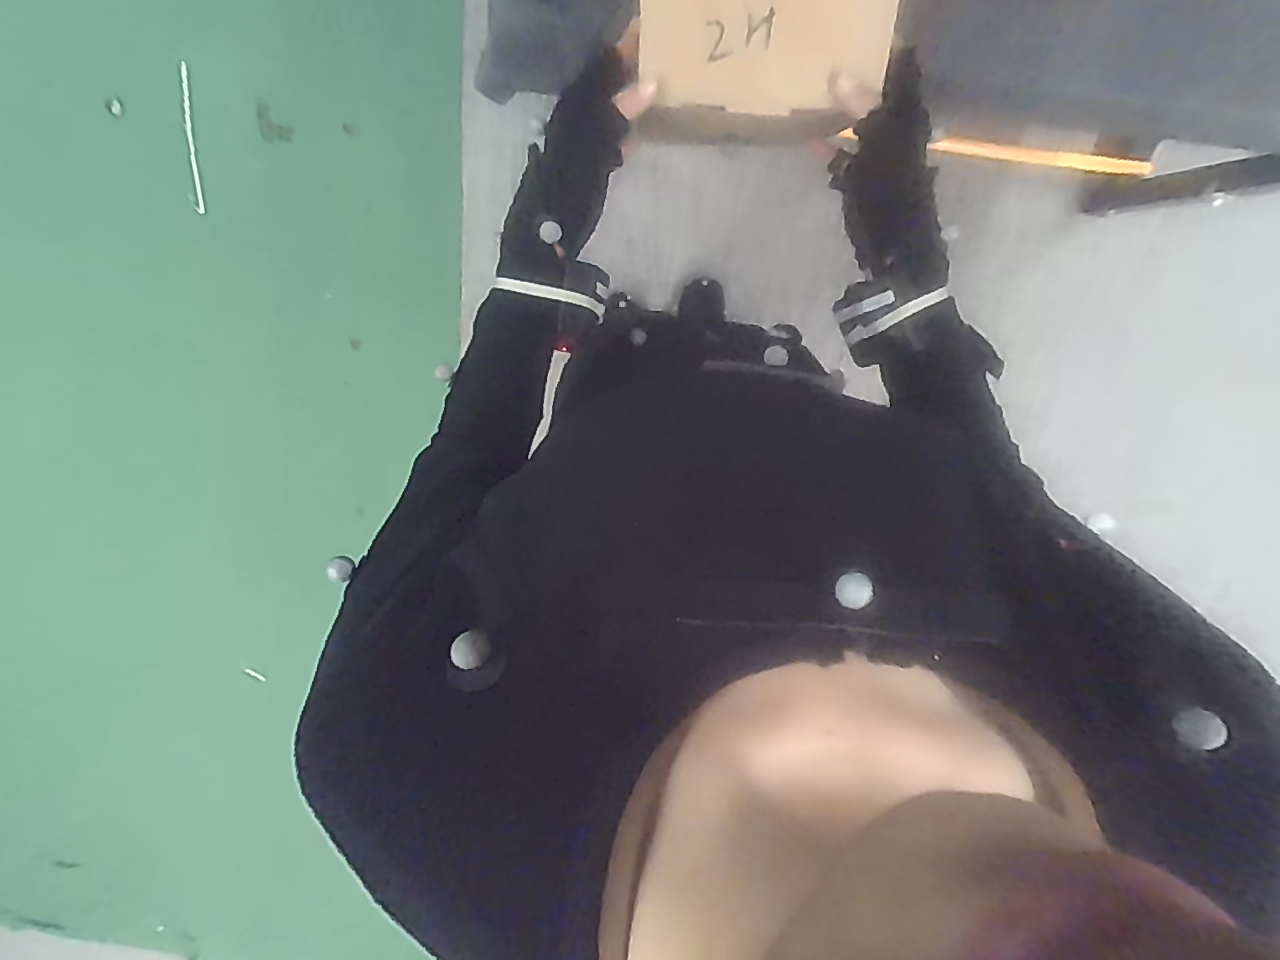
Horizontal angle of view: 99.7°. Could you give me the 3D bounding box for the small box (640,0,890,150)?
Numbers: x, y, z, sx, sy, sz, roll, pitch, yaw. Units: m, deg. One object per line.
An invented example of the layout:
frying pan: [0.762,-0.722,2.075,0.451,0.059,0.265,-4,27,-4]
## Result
small box: [0.086,-0.374,0.419,0.168,0.176,0.179,2,113,1]
